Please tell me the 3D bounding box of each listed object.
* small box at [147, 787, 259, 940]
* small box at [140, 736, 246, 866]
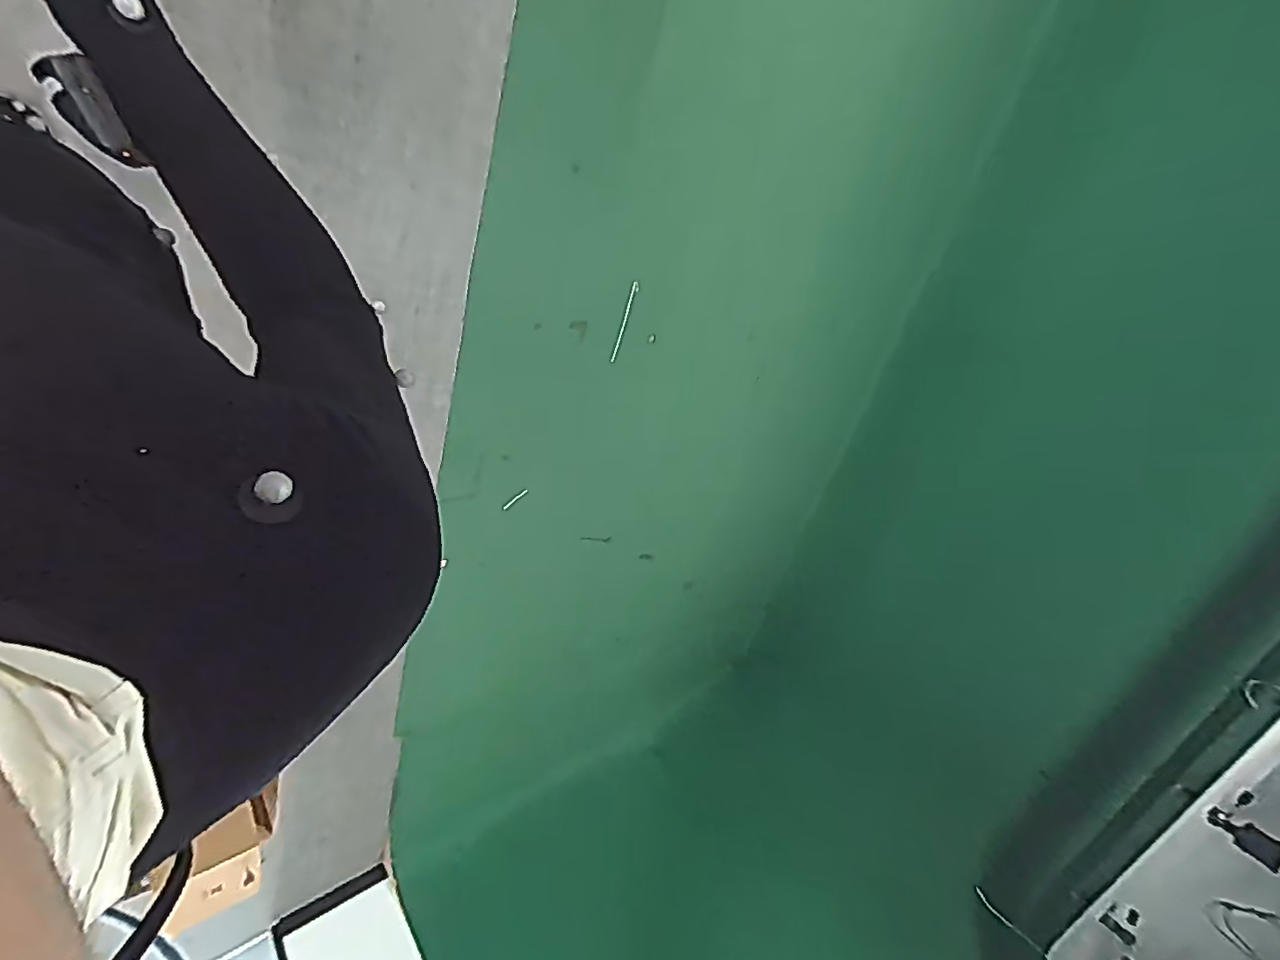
[{"bbox_3d":[-0.947,0.817,1.171,0.179,0.176,0.168,-7,122,-43],"label":"small box"},{"bbox_3d":[-1.052,0.742,1.272,0.179,0.176,0.168,-4,120,-44],"label":"small box"}]
